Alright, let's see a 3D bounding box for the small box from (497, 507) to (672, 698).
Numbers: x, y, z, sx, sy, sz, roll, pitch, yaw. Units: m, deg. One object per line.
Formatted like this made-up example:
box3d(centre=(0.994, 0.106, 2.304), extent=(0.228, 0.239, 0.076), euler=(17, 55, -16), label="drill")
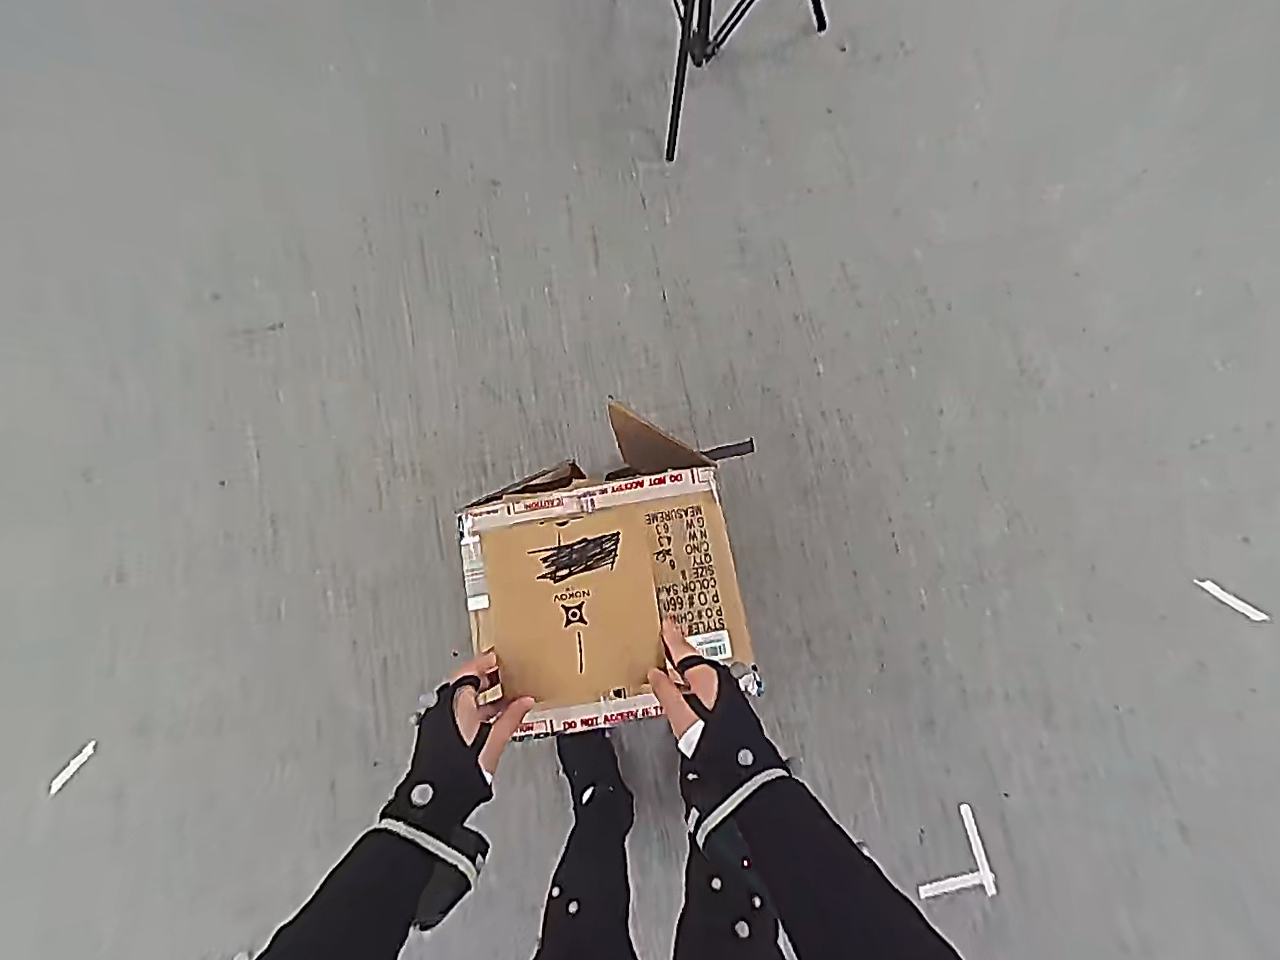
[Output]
box3d(centre=(-0.060, 0.139, 0.632), extent=(0.168, 0.176, 0.179), euler=(-8, 79, -2), label="small box")
